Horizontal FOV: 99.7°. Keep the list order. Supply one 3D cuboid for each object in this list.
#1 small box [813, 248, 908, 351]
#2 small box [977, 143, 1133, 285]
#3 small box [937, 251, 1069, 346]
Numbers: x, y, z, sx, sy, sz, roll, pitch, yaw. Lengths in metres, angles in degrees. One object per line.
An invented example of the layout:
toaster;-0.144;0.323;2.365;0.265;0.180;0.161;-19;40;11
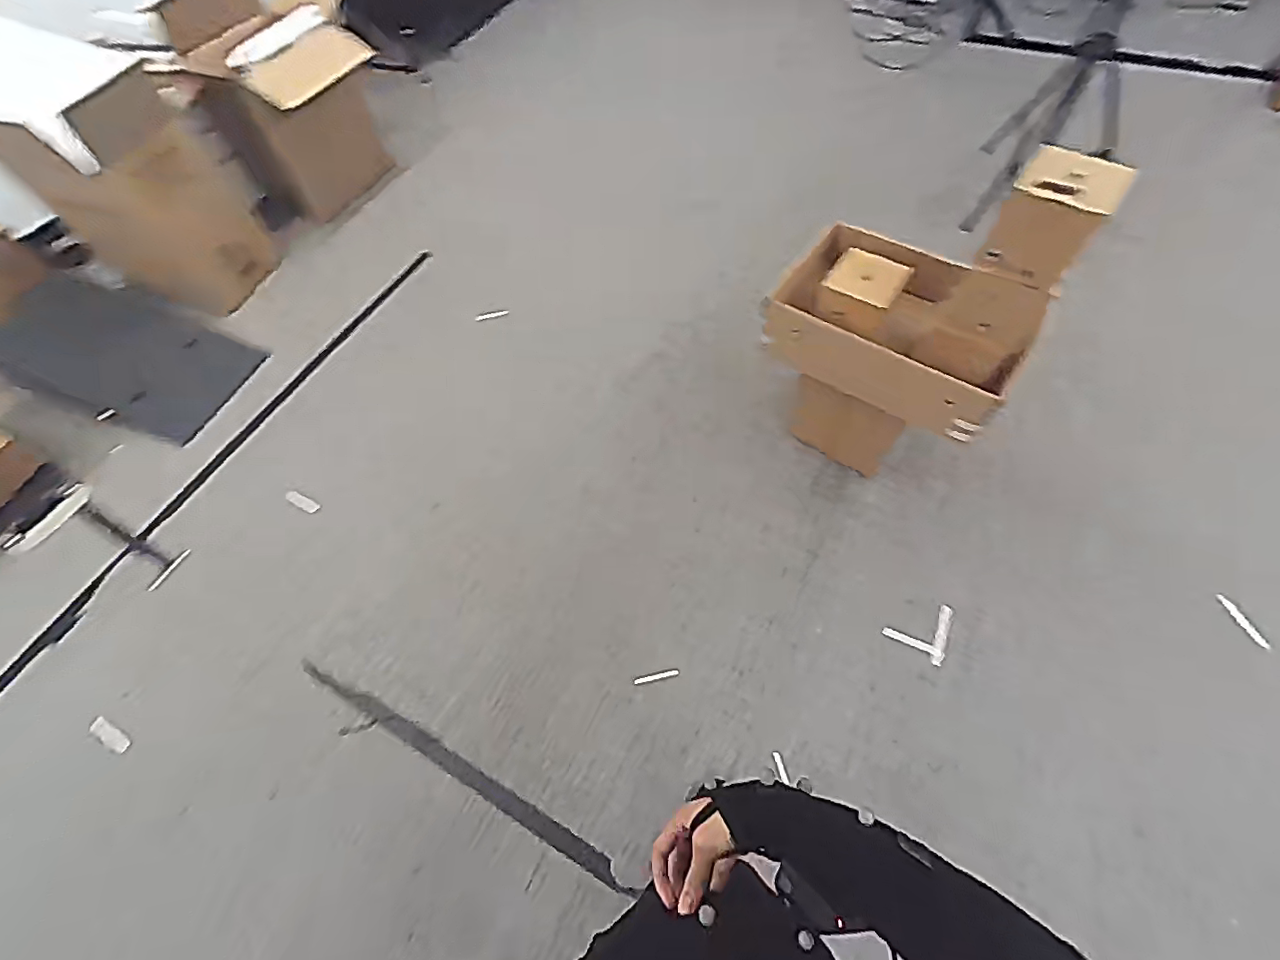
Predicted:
small box;0.582;-0.480;1.450;0.168;0.176;0.179;30;66;19
small box;0.808;-0.521;1.073;0.168;0.176;0.179;33;67;21
small box;0.810;-0.428;1.210;0.179;0.176;0.168;30;66;18
